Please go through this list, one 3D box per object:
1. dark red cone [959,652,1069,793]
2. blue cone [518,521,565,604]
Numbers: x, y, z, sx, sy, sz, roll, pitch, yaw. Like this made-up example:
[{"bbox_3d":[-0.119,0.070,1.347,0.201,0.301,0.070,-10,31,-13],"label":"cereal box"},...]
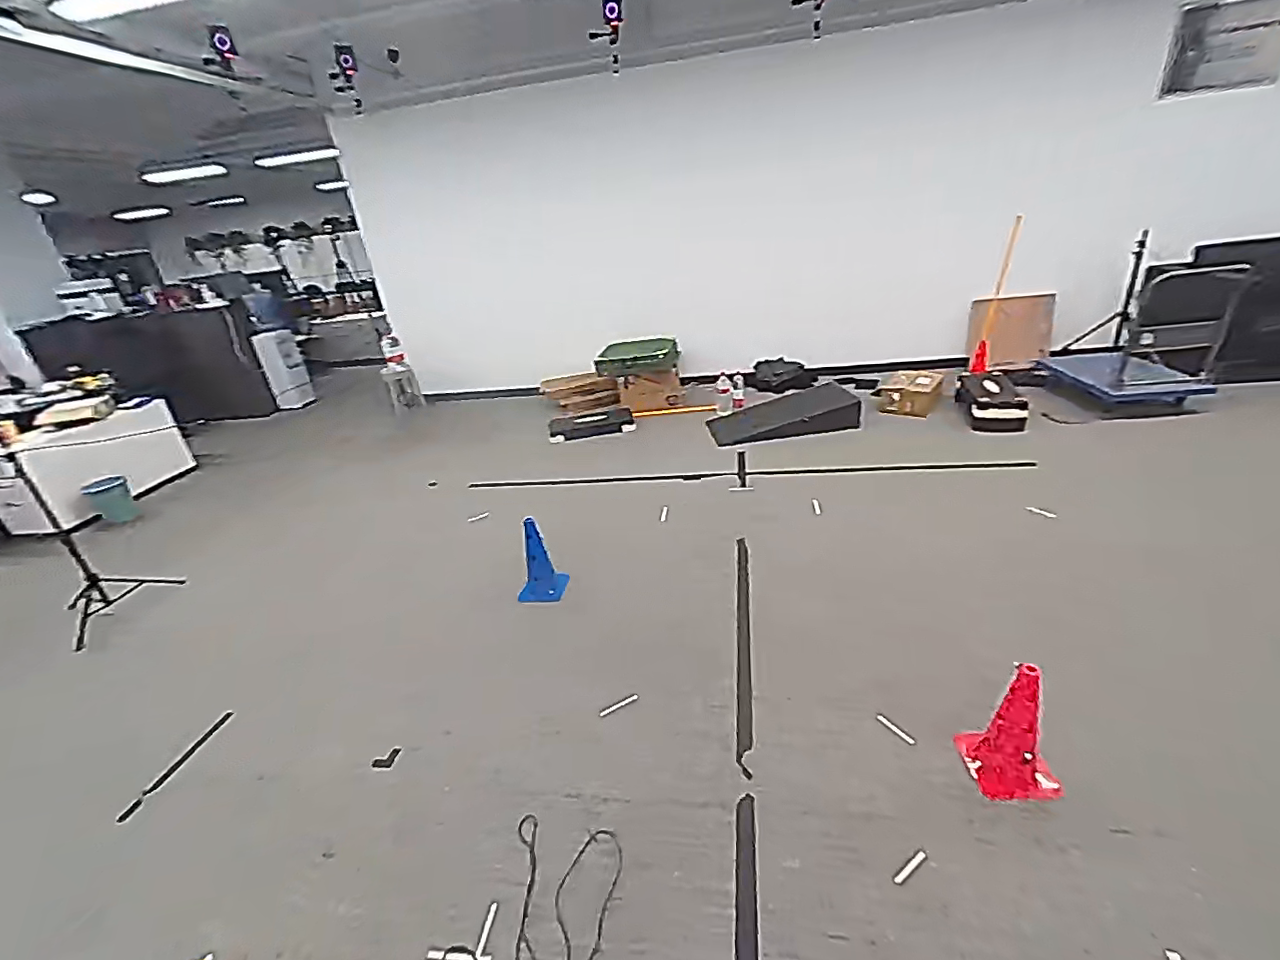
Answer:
[{"bbox_3d":[0.979,0.599,1.390,0.201,0.394,0.202,-6,25,4],"label":"dark red cone"},{"bbox_3d":[-0.463,0.350,2.368,0.192,0.380,0.193,-3,26,12],"label":"blue cone"}]
